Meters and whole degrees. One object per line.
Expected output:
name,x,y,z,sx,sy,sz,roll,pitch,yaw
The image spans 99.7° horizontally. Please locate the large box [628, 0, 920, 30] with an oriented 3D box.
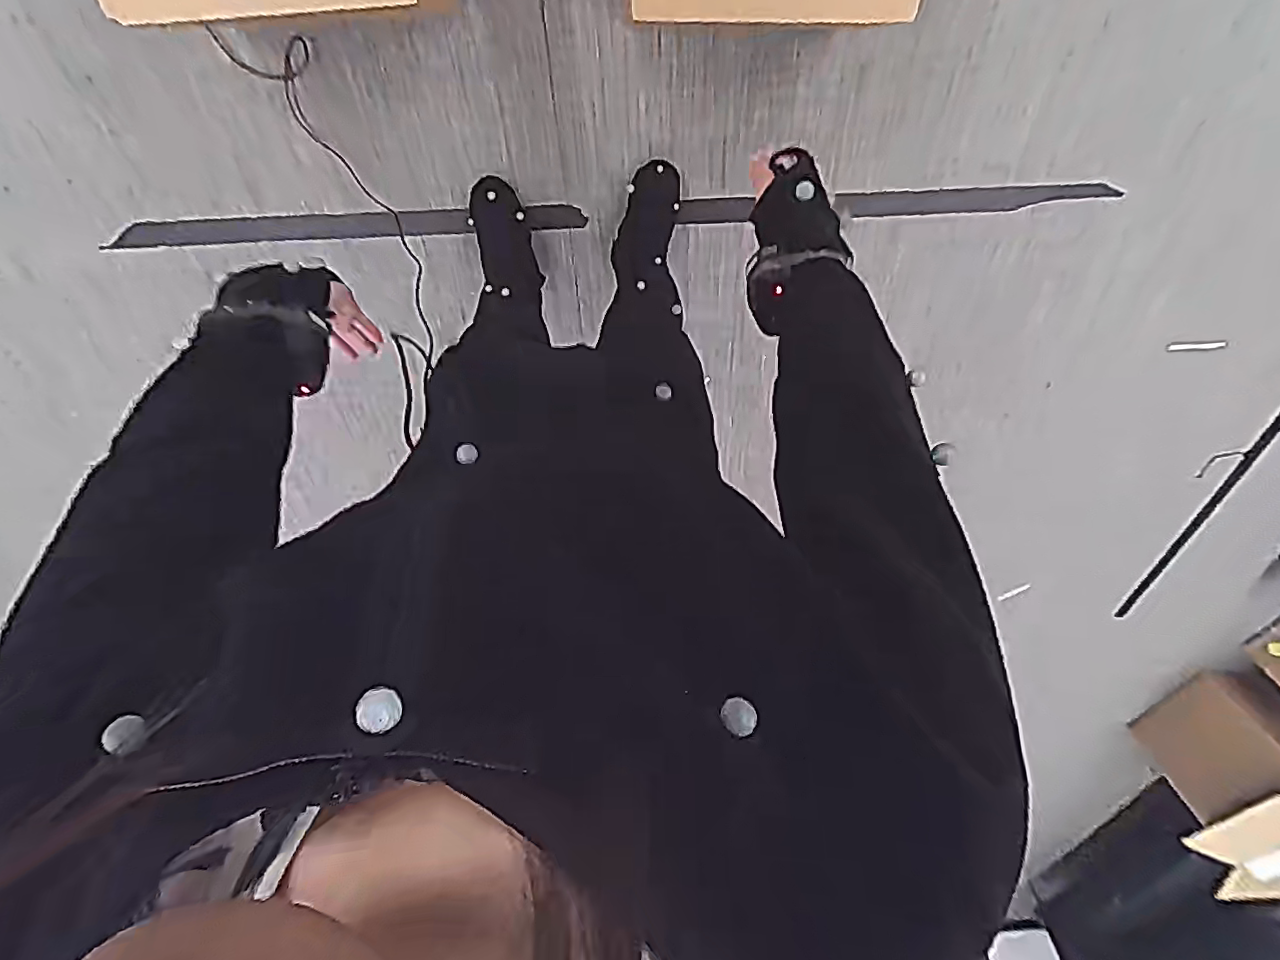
large box,0.184,-0.861,0.783,0.408,0.320,0.320,-2,129,-4
